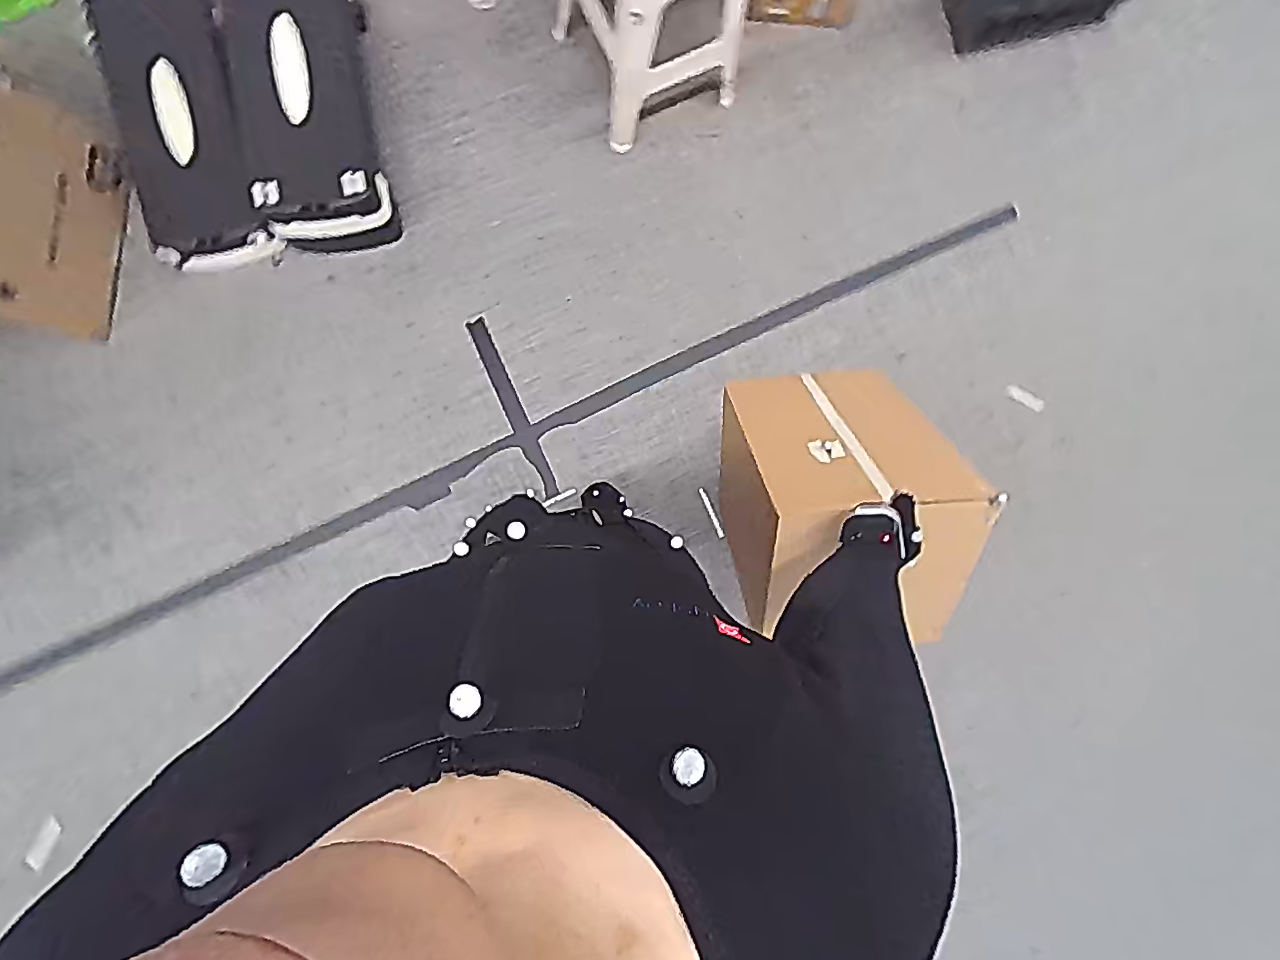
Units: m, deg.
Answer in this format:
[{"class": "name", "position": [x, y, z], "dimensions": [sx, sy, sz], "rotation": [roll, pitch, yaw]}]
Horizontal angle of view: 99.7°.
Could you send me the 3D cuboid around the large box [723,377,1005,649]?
[{"class": "large box", "position": [0.348, 0.045, 0.992], "dimensions": [0.320, 0.408, 0.320], "rotation": [-4, 129, -1]}]
